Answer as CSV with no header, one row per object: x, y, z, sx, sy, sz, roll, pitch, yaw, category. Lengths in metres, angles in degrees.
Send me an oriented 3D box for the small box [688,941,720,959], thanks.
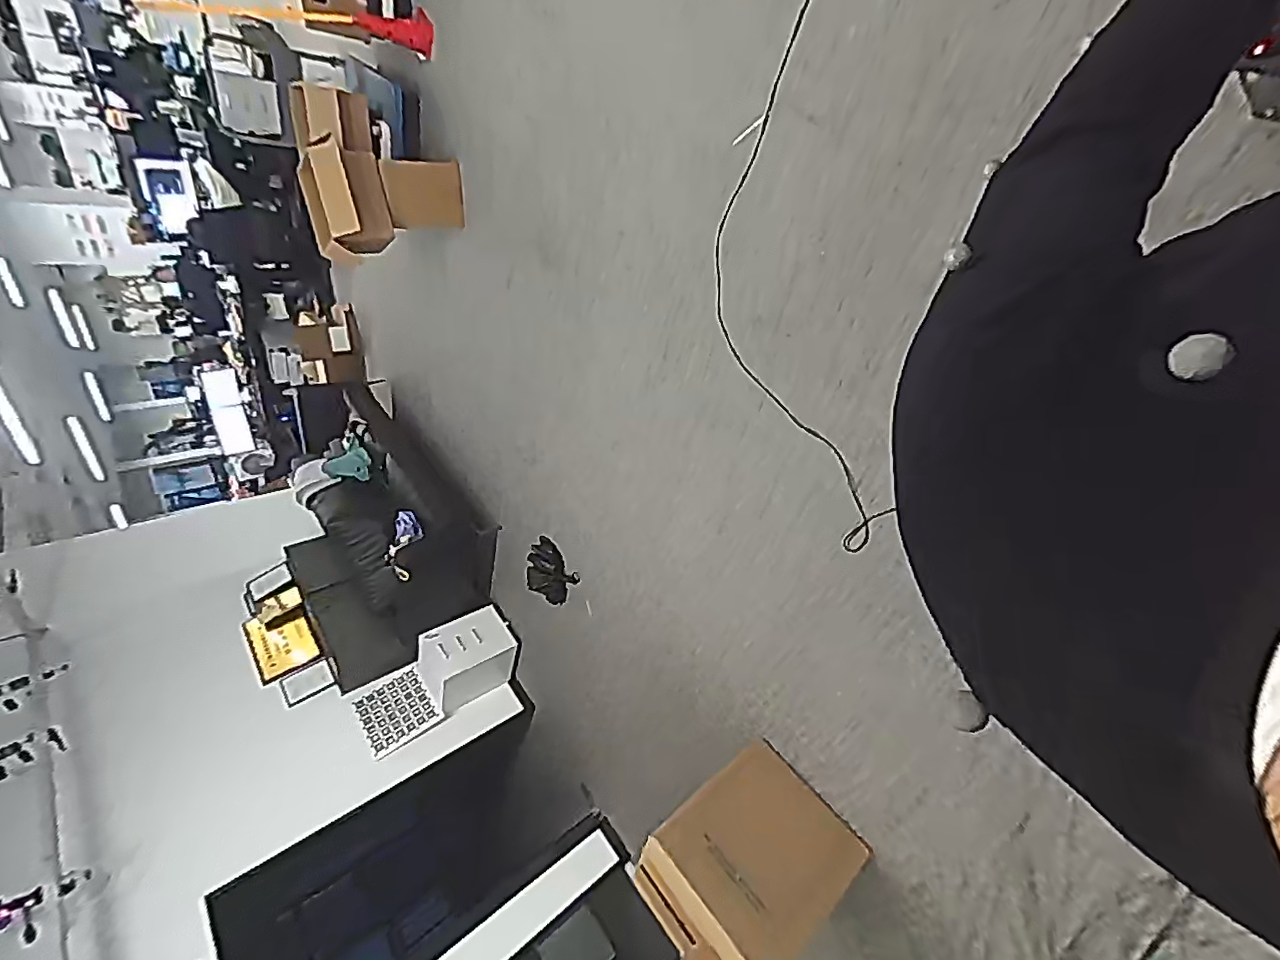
0.189,1.607,1.680,0.179,0.176,0.168,39,123,35,small box
